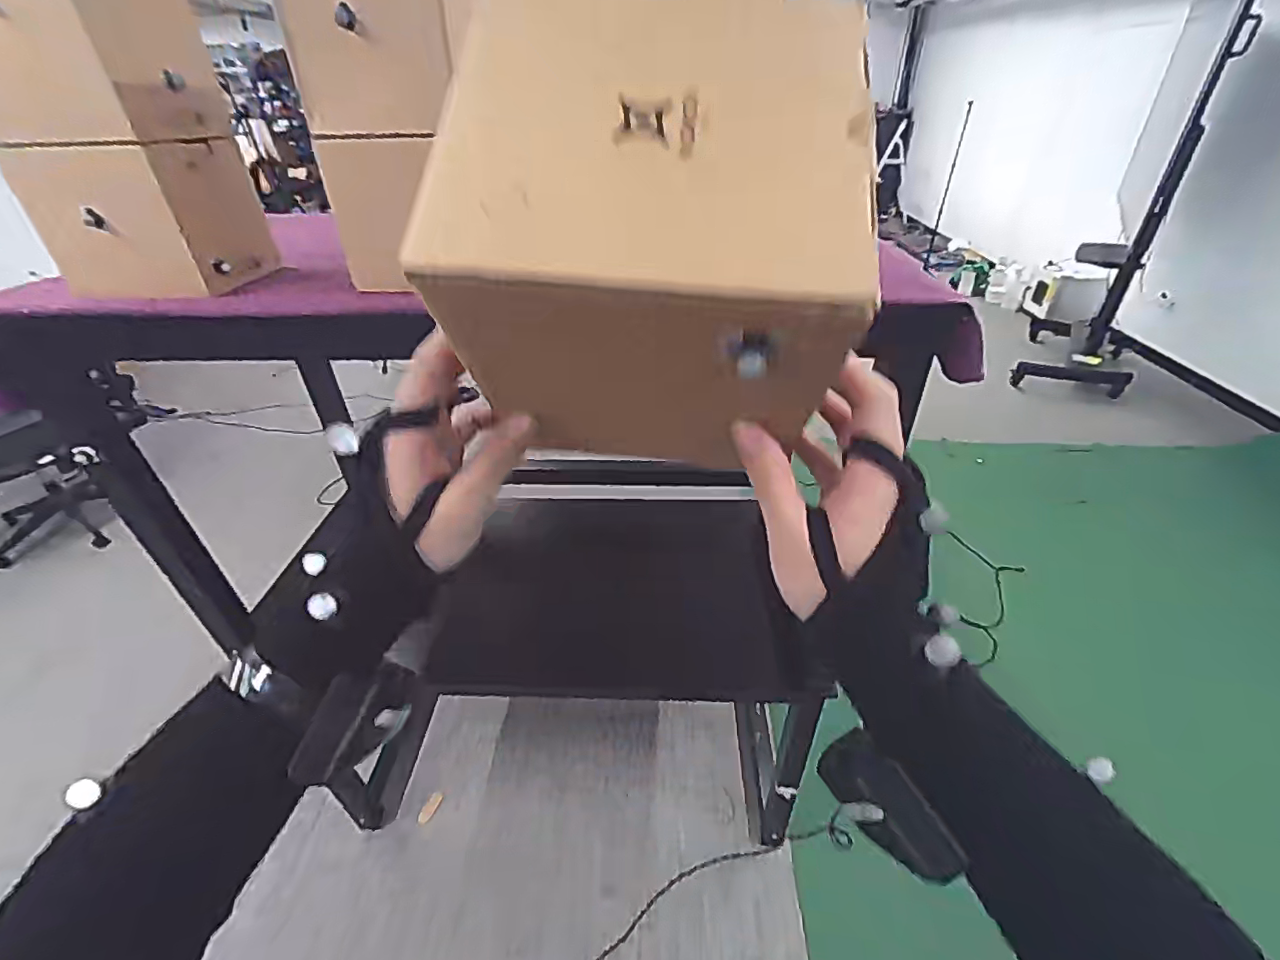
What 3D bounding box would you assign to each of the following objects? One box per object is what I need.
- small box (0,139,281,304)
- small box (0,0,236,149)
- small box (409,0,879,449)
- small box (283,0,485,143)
[{"bbox_3d":[-0.613,-0.334,0.695,0.179,0.176,0.168,-1,35,2],"label":"small box"},{"bbox_3d":[-0.614,-0.470,0.602,0.179,0.176,0.168,1,35,2],"label":"small box"},{"bbox_3d":[0.010,-0.126,0.297,0.179,0.176,0.168,5,71,3],"label":"small box"},{"bbox_3d":[-0.262,-0.478,0.601,0.179,0.176,0.168,1,35,5],"label":"small box"}]
